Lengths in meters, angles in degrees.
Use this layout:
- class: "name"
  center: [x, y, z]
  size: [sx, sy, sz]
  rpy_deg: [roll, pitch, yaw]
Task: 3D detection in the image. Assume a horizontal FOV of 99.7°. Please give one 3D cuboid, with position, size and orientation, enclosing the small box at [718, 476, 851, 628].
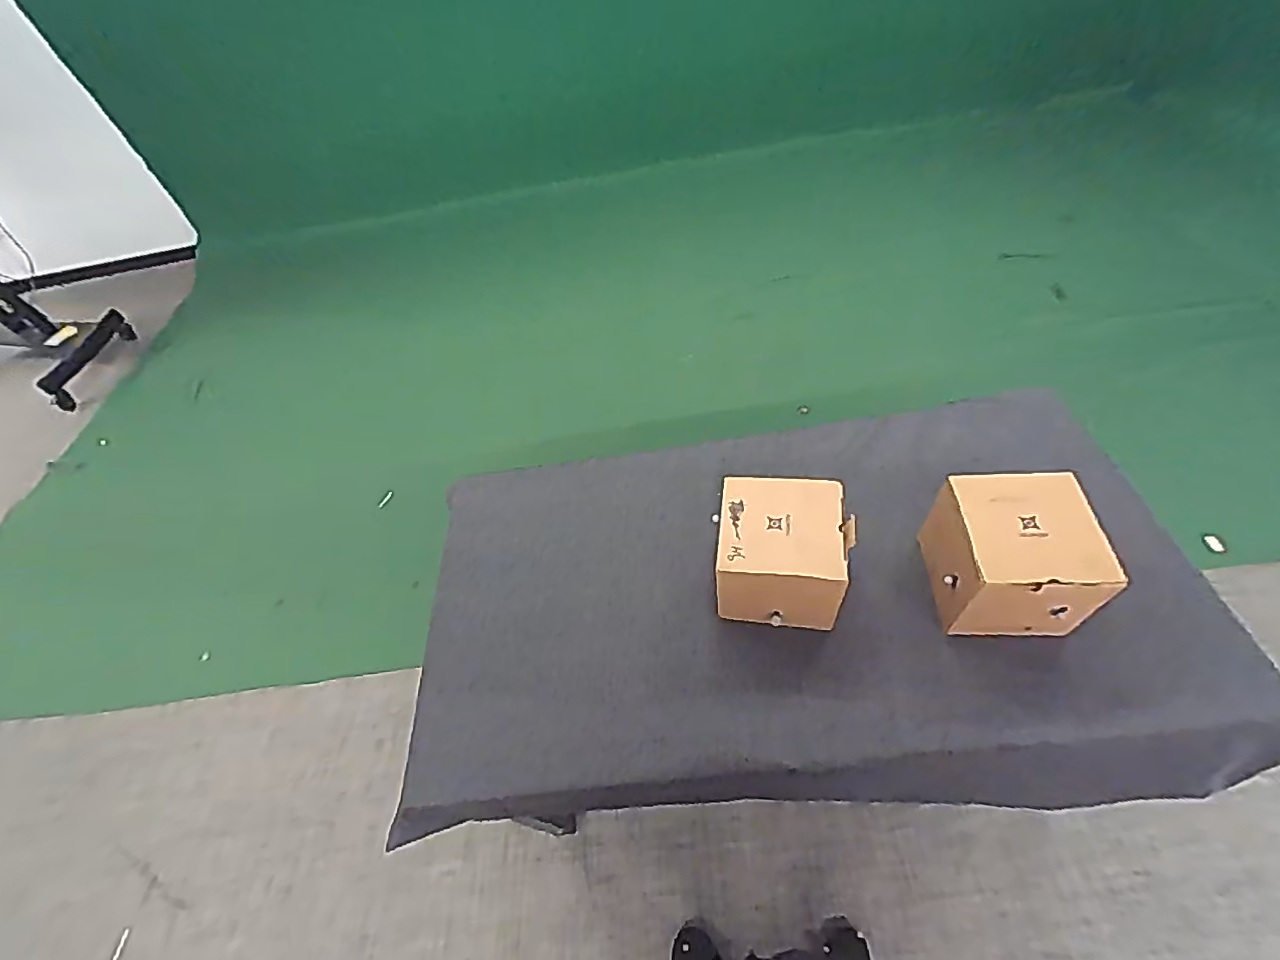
- class: "small box"
  center: [0.216, 0.115, 0.834]
  size: [0.179, 0.176, 0.168]
  rpy_deg: [4, 52, 12]

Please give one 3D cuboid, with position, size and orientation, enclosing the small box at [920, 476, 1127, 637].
- class: "small box"
  center: [0.529, 0.113, 0.780]
  size: [0.168, 0.176, 0.179]
  rpy_deg: [0, 51, 8]
